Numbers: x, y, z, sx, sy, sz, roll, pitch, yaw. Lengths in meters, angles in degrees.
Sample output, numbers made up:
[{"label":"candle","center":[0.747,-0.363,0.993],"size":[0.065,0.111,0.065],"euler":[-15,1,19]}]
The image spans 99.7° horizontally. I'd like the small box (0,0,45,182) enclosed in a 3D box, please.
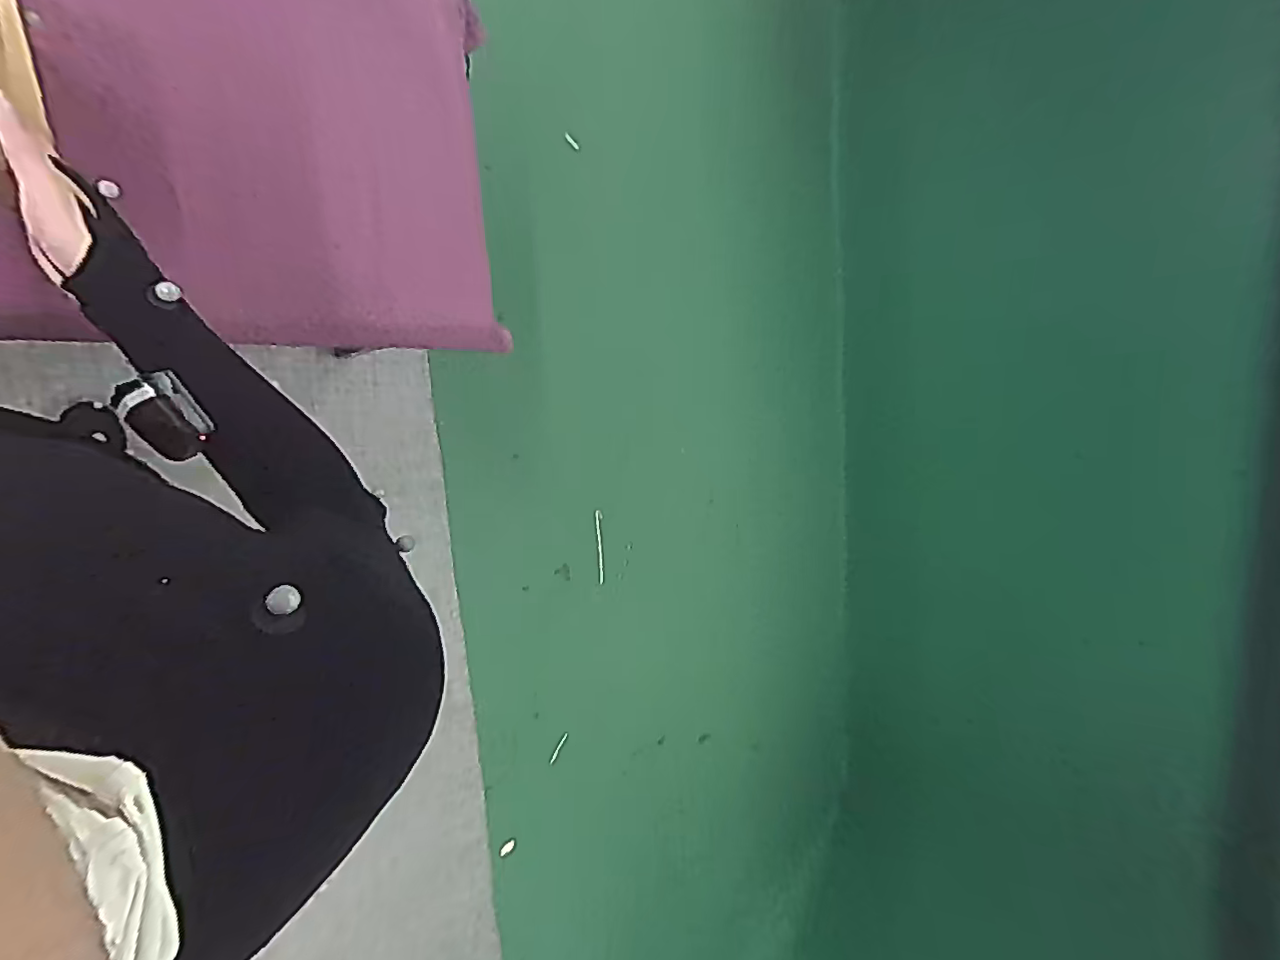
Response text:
[{"label":"small box","center":[-0.692,-0.409,0.500],"size":[0.168,0.176,0.179],"euler":[-16,104,-45]}]
